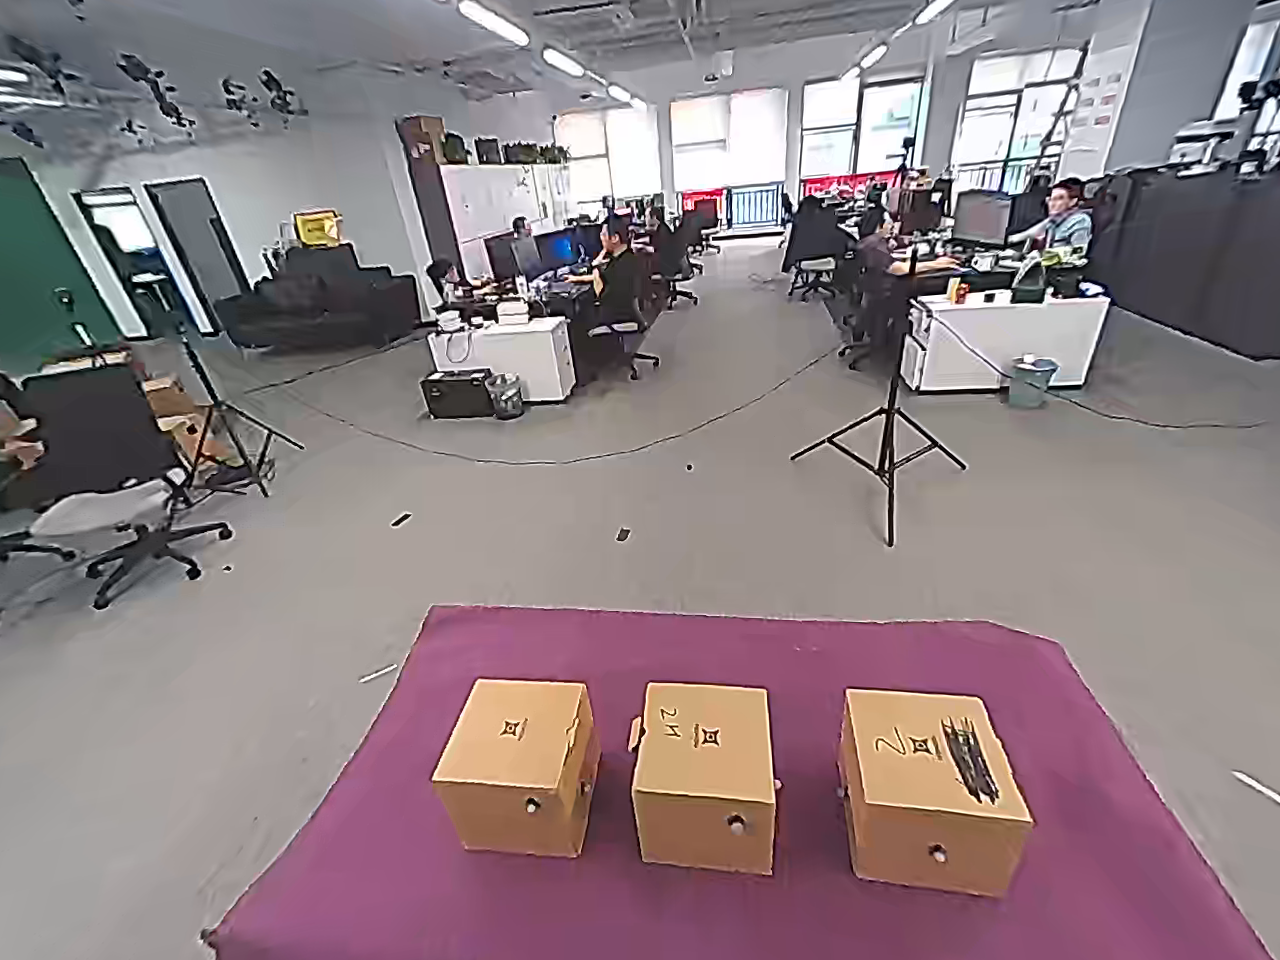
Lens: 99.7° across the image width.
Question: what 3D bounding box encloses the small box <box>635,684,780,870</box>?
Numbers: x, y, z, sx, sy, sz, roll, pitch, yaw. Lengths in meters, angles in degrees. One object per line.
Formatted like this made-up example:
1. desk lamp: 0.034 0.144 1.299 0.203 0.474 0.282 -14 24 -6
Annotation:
1. small box: 0.097 0.412 0.757 0.179 0.176 0.168 -1 29 10

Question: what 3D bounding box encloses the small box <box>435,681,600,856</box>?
1. small box: -0.167 0.422 0.798 0.179 0.176 0.168 -1 29 8
